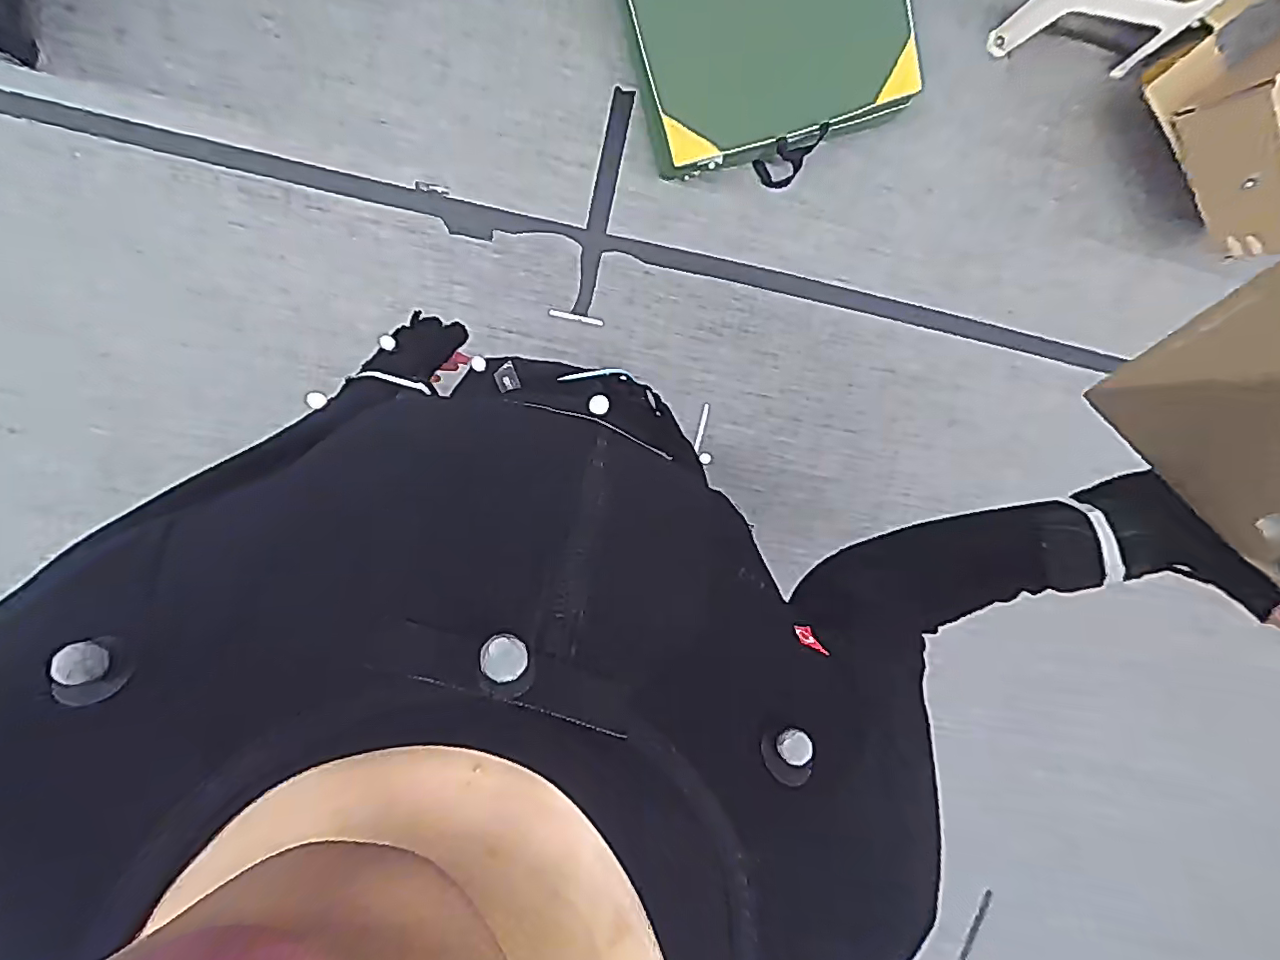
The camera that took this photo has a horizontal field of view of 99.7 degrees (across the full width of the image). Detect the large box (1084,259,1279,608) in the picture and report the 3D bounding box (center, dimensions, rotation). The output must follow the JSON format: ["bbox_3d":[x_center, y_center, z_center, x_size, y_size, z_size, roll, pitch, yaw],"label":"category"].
[{"bbox_3d":[0.463,-0.025,0.164,0.320,0.408,0.320,-41,80,22],"label":"large box"}]
